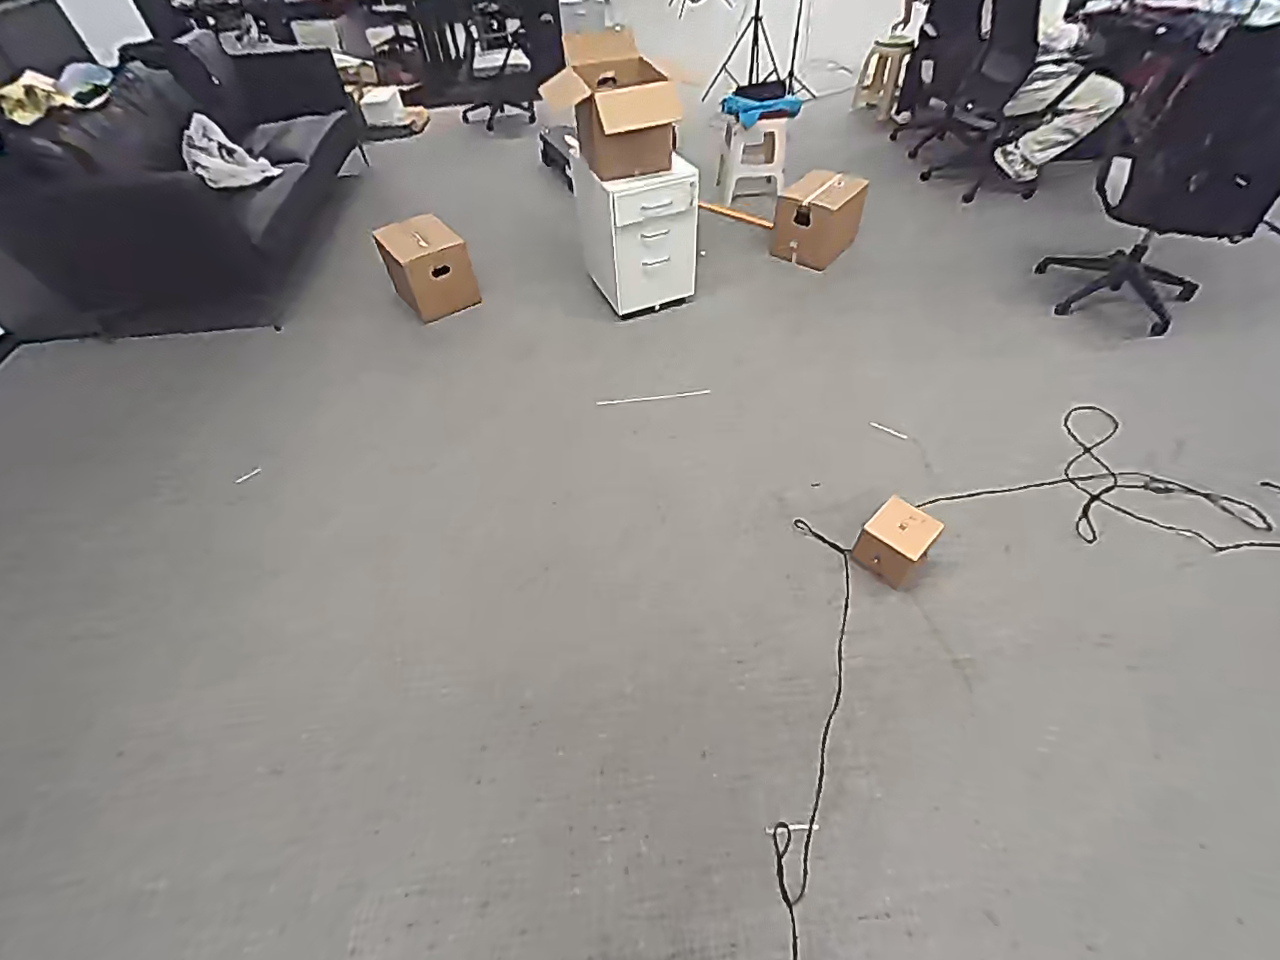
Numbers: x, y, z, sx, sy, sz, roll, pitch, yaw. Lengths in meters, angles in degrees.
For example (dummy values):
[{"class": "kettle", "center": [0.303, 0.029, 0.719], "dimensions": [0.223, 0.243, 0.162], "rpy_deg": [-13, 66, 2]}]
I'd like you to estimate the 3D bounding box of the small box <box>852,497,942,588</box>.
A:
[{"class": "small box", "center": [0.760, 0.191, 1.619], "dimensions": [0.179, 0.176, 0.168], "rpy_deg": [-37, 57, -25]}]
